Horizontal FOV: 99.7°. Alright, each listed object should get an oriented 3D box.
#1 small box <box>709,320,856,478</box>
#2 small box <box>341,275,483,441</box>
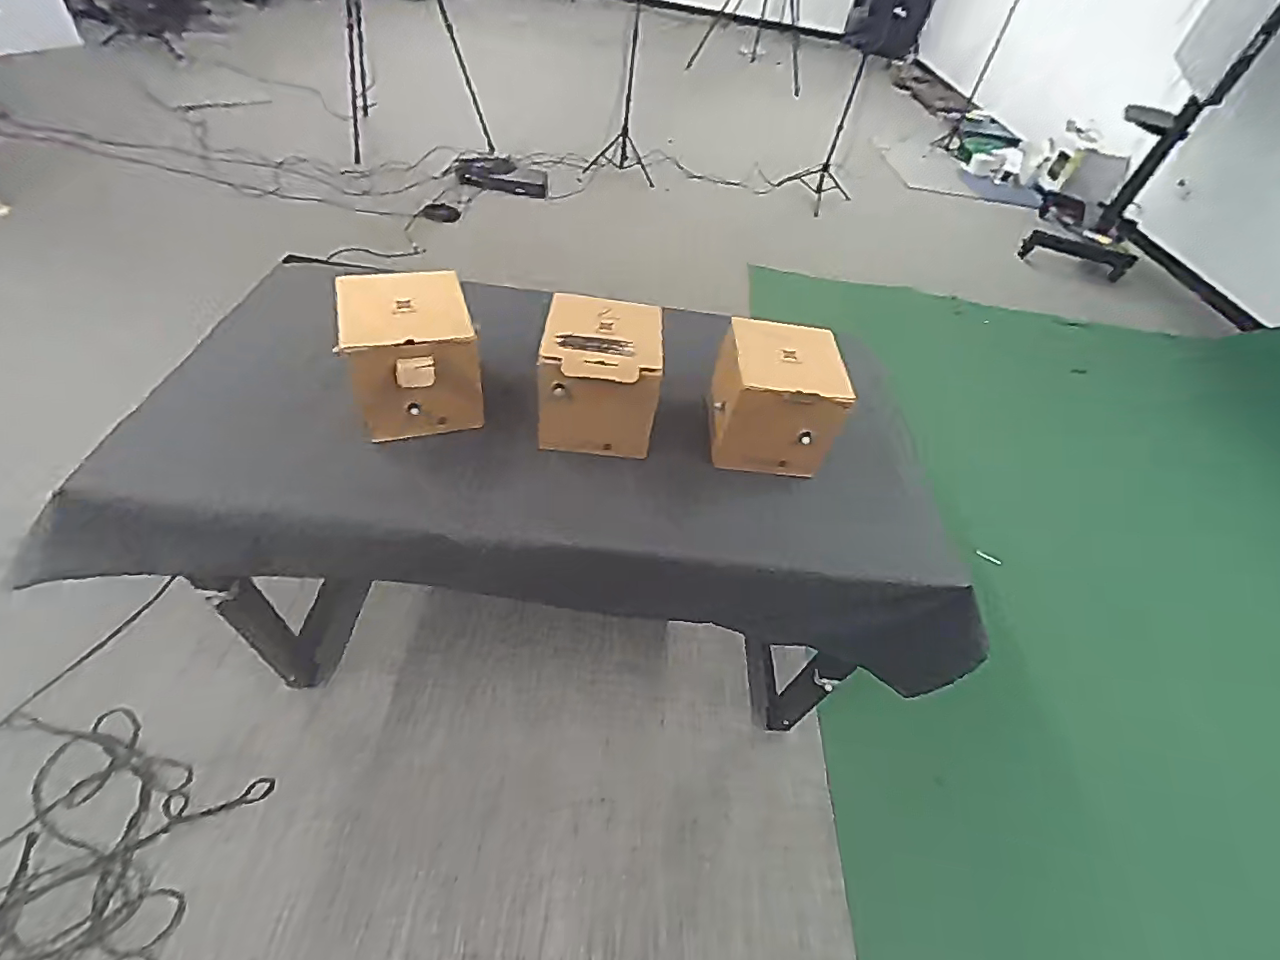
[{"bbox_3d":[0.210,-0.123,0.852,0.168,0.176,0.179,7,47,-6],"label":"small box"},{"bbox_3d":[-0.333,-0.183,0.803,0.168,0.176,0.179,-11,52,-20],"label":"small box"}]
